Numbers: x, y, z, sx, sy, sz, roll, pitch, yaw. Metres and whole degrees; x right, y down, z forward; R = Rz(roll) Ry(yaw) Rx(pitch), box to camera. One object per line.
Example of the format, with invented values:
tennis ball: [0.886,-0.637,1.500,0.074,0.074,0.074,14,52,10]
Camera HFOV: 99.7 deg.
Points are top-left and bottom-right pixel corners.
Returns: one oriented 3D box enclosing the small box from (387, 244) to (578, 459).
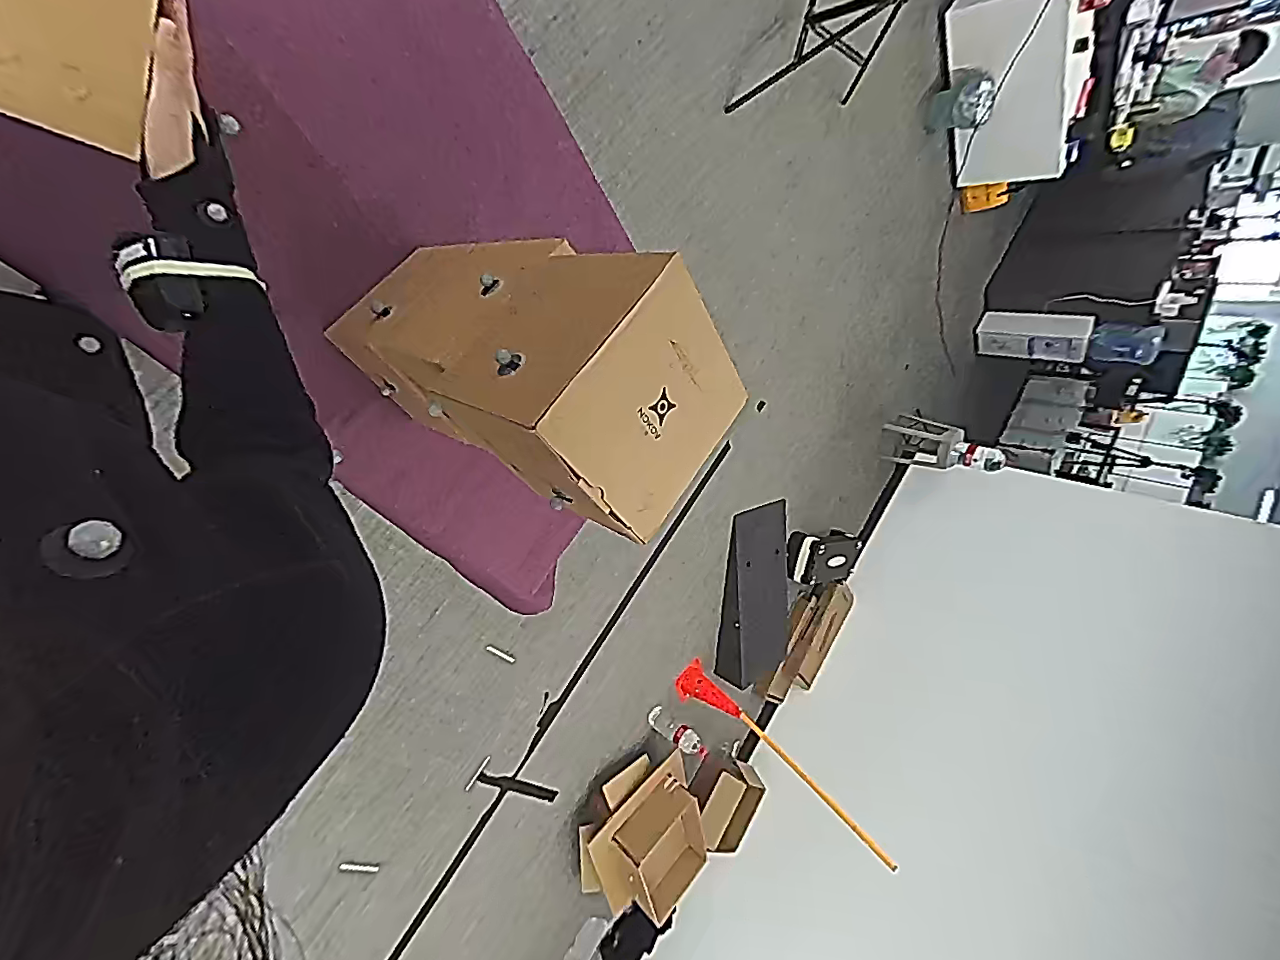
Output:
small box: [-0.142,-0.139,0.603,0.179,0.176,0.168,-52,135,-17]

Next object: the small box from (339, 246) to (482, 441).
small box: [-0.260,-0.180,0.709,0.179,0.176,0.168,-53,136,-18]

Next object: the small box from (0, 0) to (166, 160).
small box: [-0.426,-0.339,0.355,0.168,0.176,0.179,6,109,-45]

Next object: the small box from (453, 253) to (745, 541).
small box: [-0.040,-0.078,0.489,0.179,0.176,0.168,-56,137,-16]
